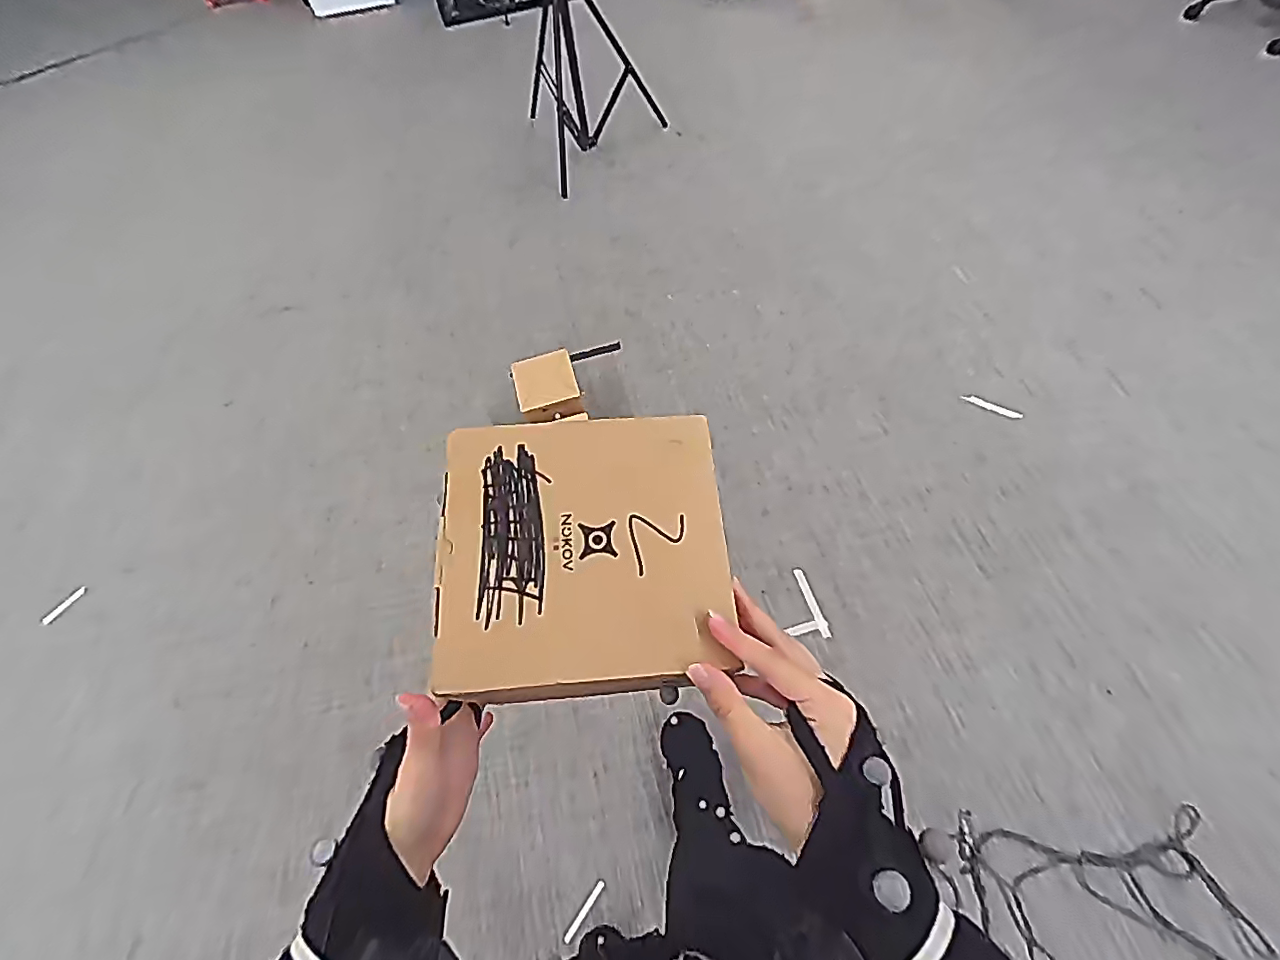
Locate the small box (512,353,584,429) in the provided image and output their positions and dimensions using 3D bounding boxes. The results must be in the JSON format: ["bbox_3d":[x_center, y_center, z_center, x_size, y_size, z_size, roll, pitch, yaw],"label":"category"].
[{"bbox_3d":[-0.259,-0.236,1.555,0.168,0.176,0.179,-17,62,-3],"label":"small box"}]

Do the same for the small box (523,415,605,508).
[{"bbox_3d":[-0.198,-0.045,1.455,0.179,0.176,0.168,-16,62,-3],"label":"small box"}]
